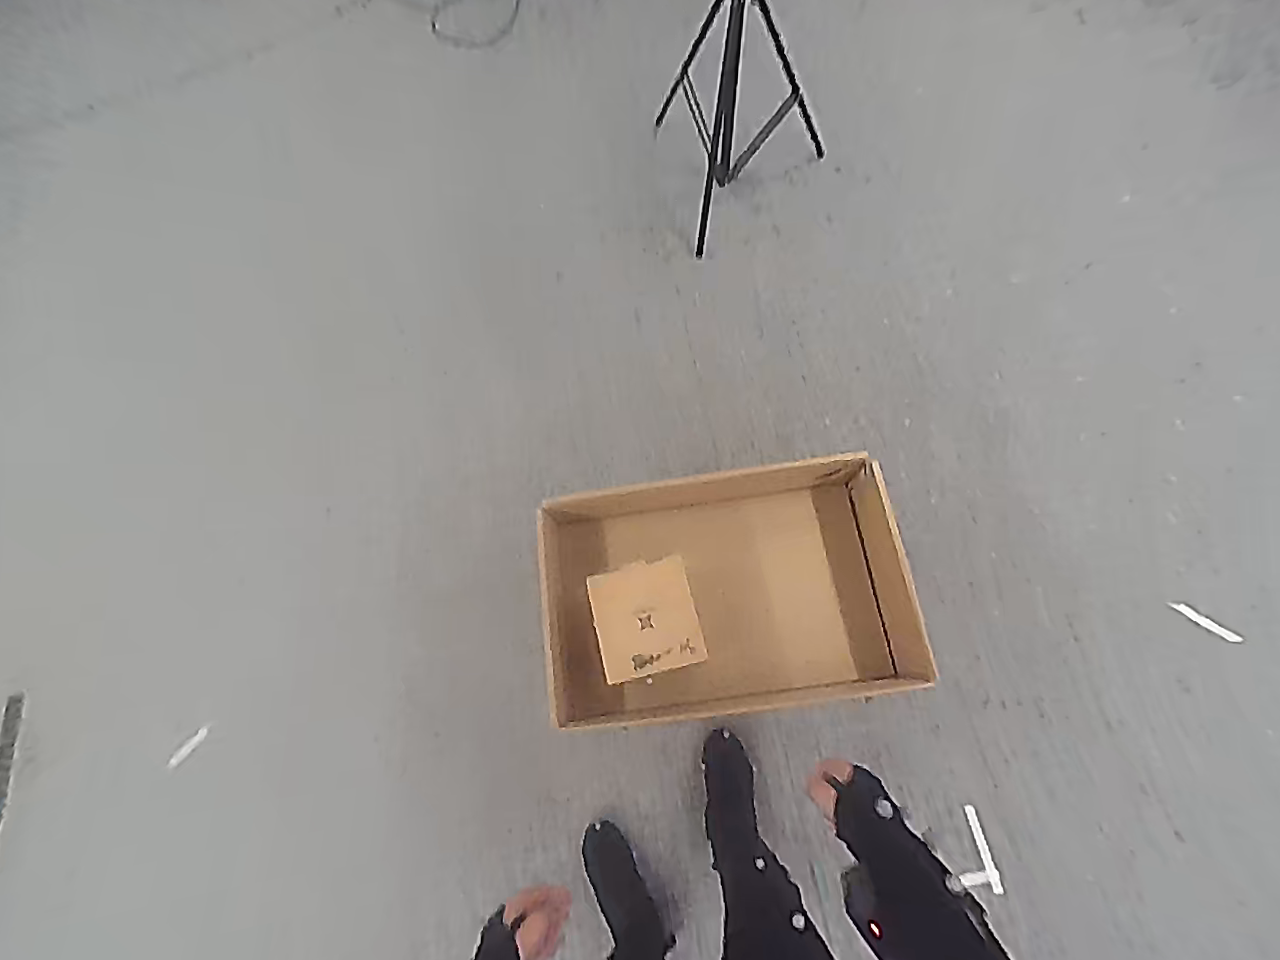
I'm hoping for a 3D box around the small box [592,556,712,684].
[{"bbox_3d":[0.021,0.249,0.946,0.168,0.176,0.179,-15,71,1],"label":"small box"}]
